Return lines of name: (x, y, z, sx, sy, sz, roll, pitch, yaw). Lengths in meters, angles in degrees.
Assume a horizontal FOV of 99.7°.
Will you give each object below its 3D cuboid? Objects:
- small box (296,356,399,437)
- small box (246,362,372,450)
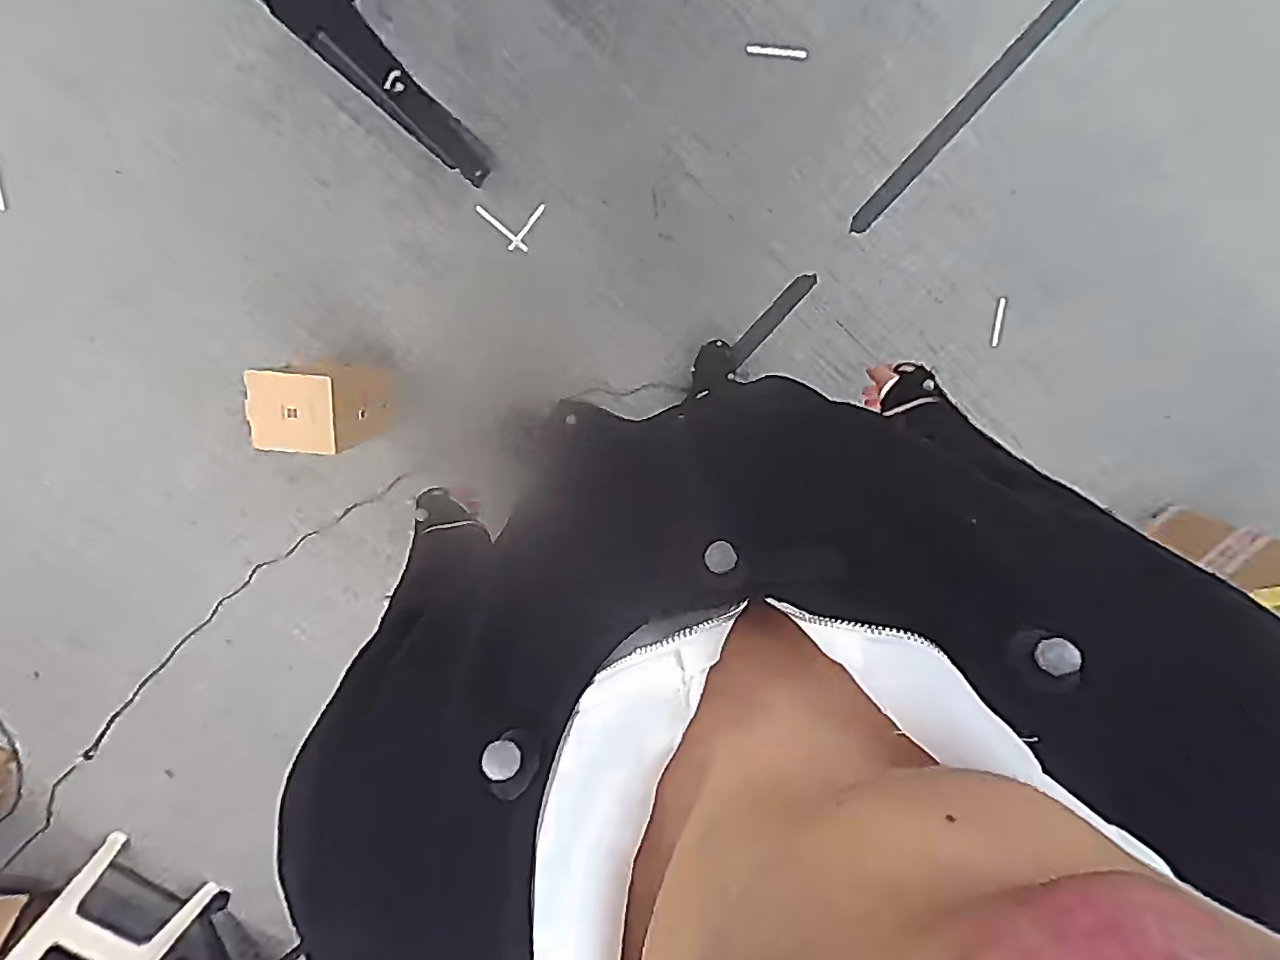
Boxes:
small box: (-0.722, -0.214, 1.349, 0.179, 0.176, 0.168, 9, 104, -3)
small box: (-0.718, -0.169, 1.192, 0.179, 0.176, 0.168, 4, 106, -3)
